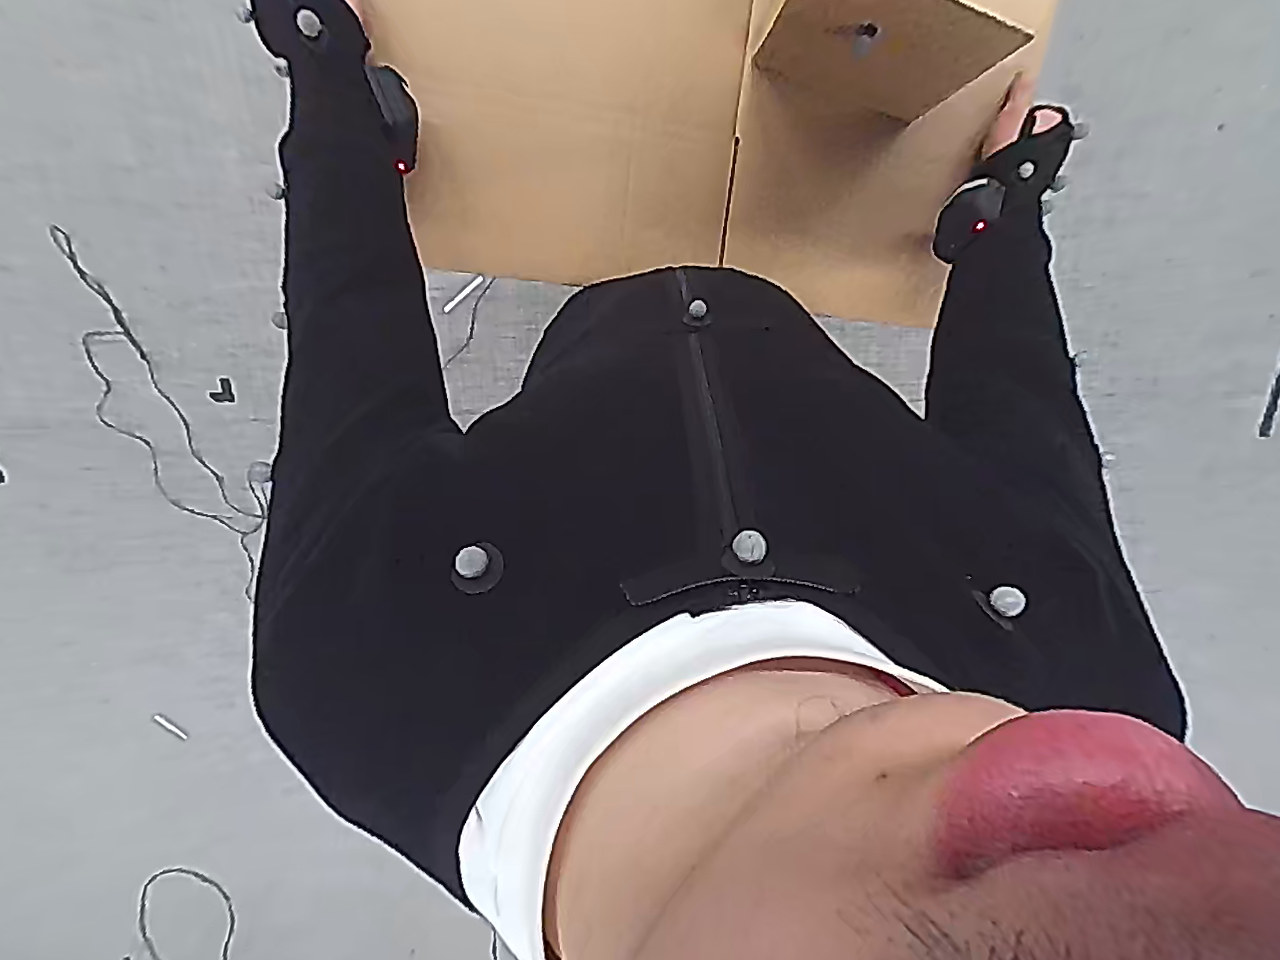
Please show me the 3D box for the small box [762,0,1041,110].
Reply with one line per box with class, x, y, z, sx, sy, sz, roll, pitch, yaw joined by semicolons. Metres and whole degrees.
small box;0.220;-0.443;0.444;0.179;0.176;0.168;15;104;-7
